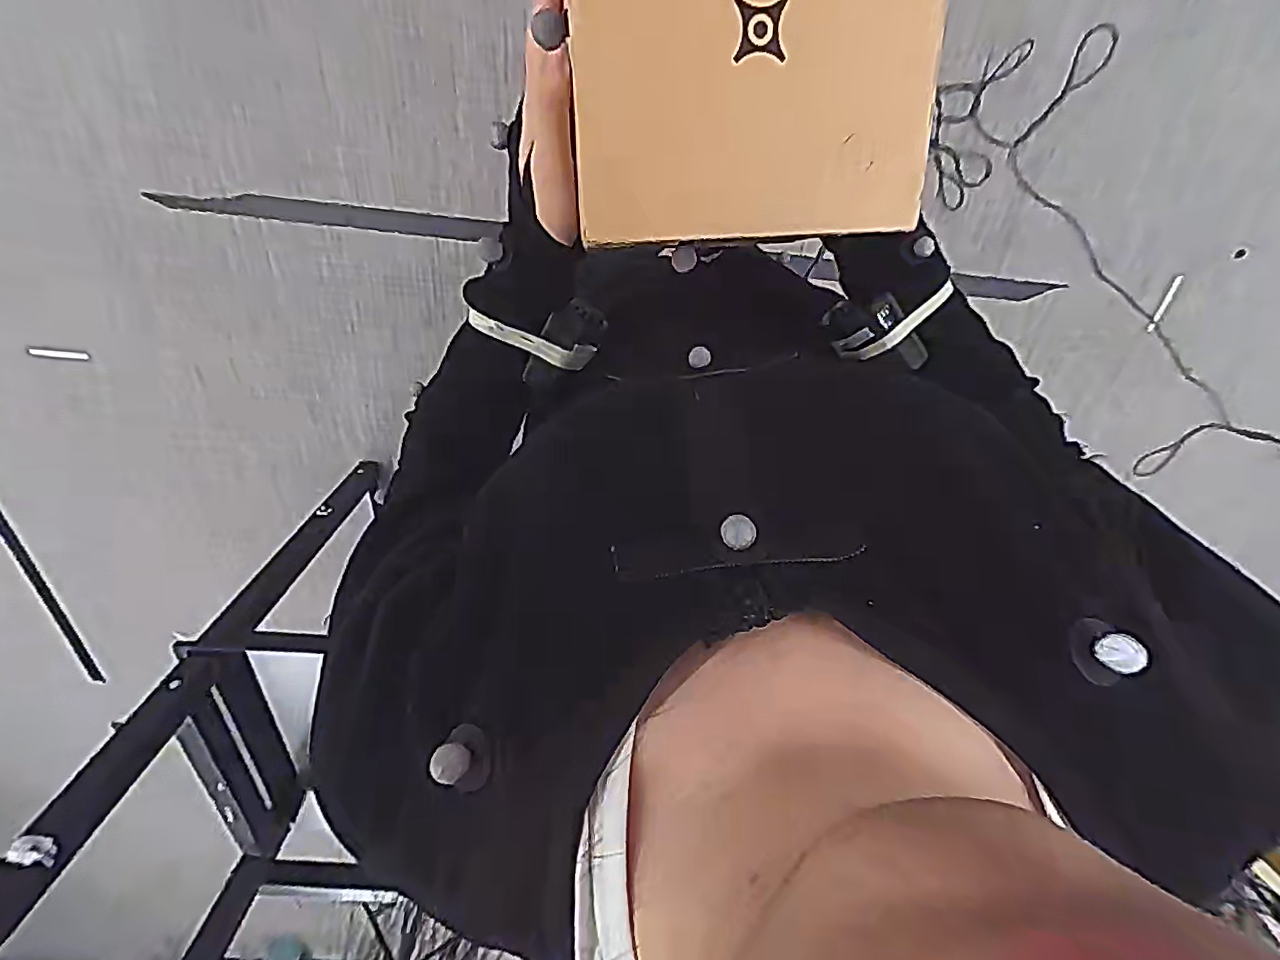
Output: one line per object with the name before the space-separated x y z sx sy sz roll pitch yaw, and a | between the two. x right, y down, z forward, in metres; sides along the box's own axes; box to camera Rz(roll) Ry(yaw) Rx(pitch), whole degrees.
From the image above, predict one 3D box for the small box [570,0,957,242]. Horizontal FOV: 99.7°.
small box | 0.047 -0.230 0.299 0.168 0.176 0.179 -4 111 -4
